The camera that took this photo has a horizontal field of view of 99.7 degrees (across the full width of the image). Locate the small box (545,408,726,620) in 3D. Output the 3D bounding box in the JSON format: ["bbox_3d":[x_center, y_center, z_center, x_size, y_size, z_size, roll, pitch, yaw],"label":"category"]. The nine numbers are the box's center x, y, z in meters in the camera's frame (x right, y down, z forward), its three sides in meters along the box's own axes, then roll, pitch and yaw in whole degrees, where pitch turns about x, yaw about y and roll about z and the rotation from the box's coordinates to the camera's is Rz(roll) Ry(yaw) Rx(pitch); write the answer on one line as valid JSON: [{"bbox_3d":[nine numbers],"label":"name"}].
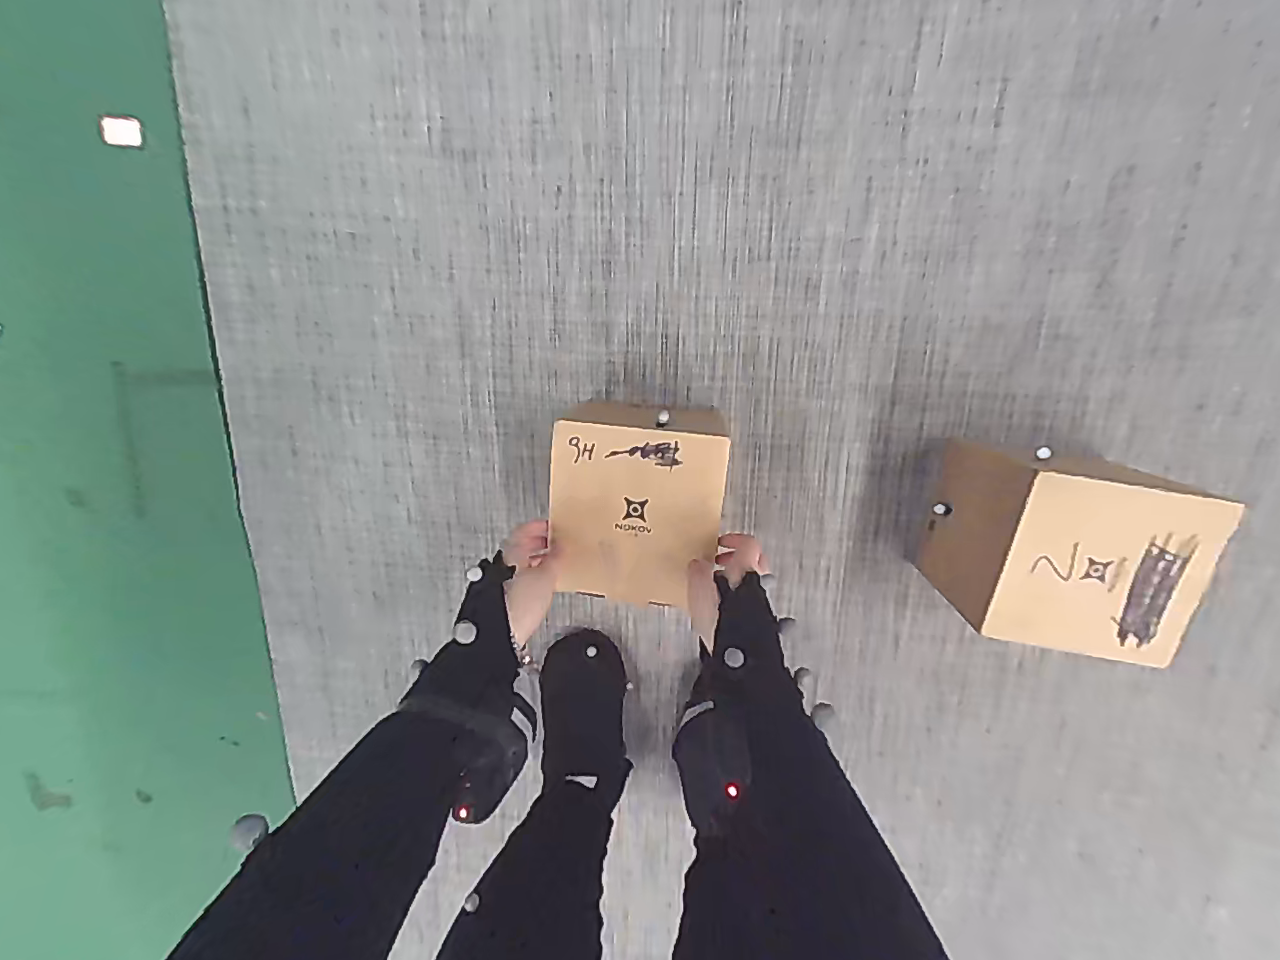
[{"bbox_3d":[0.000,0.026,0.595,0.168,0.176,0.179,6,106,4],"label":"small box"}]
